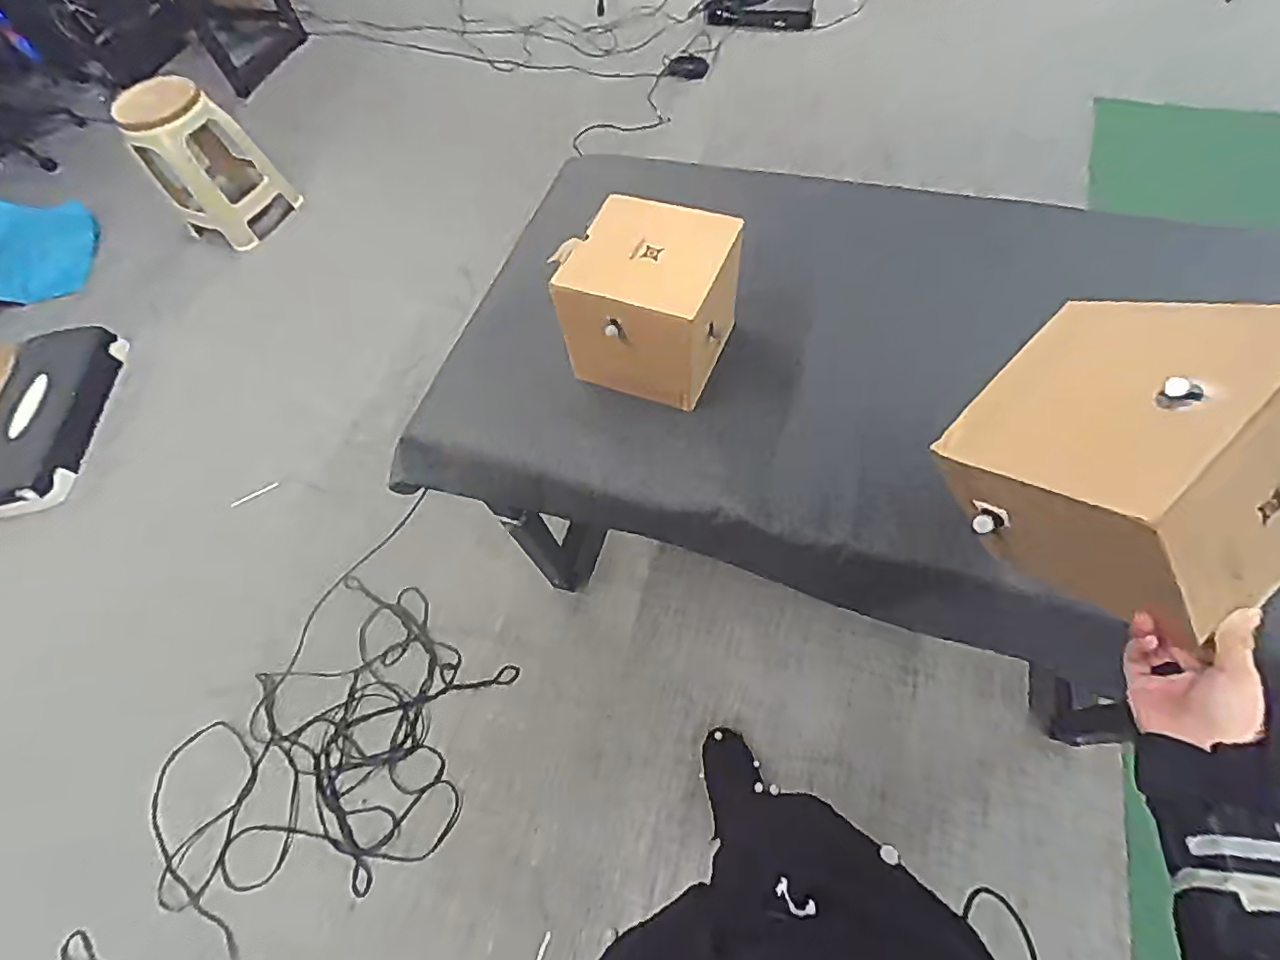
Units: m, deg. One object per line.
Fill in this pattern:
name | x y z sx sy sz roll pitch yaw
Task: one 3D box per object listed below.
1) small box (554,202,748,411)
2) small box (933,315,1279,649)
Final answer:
small box | 0.021 -0.211 0.684 0.179 0.176 0.168 19 65 16
small box | 0.379 -0.014 0.425 0.179 0.168 0.176 -46 25 -1
